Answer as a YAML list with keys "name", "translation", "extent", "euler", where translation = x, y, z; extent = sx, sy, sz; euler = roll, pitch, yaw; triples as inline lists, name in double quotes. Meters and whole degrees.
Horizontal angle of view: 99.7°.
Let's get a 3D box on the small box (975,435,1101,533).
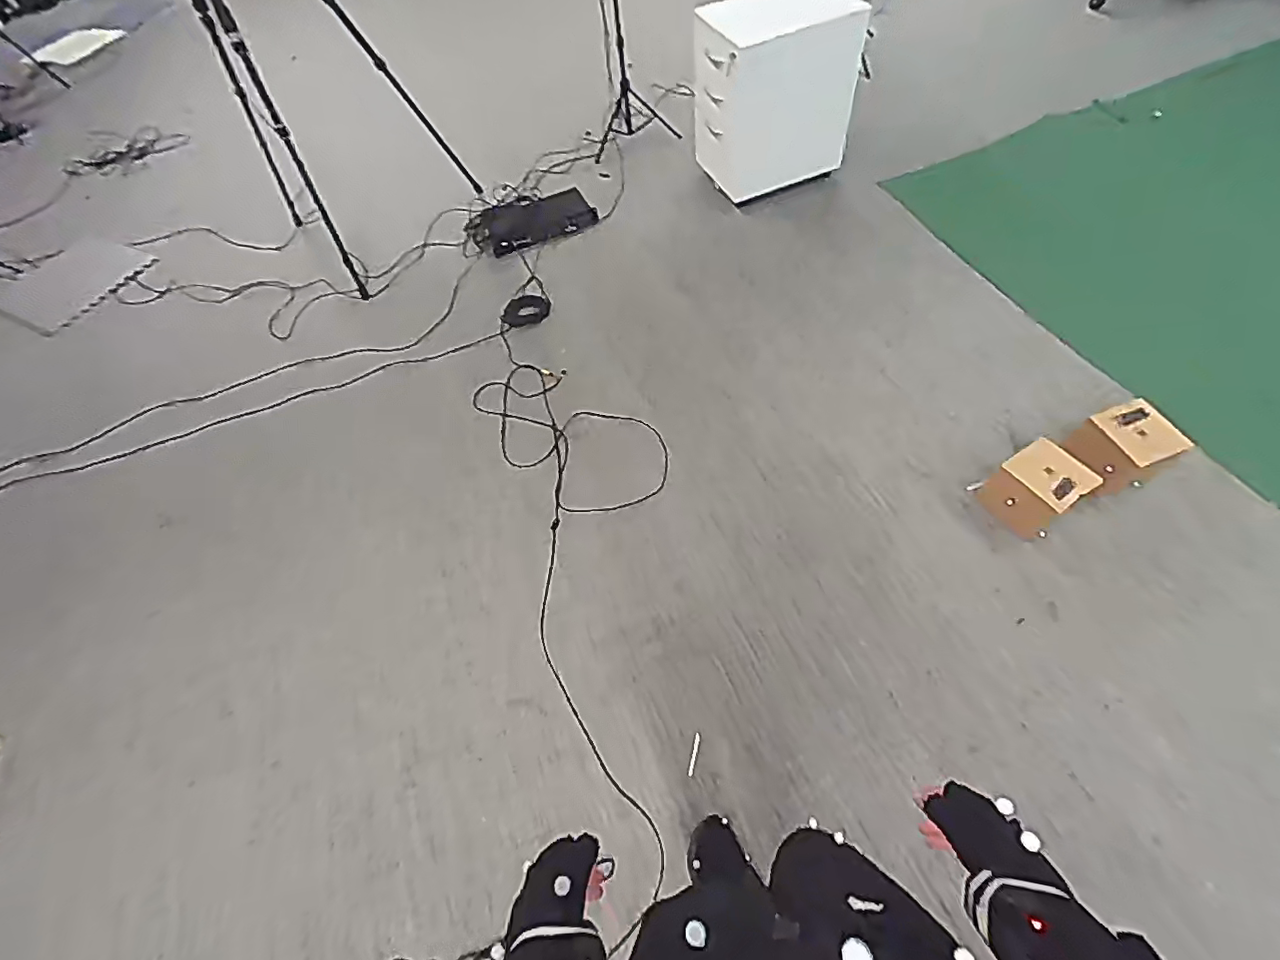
- name: "small box"
  translation: [1.048, 0.021, 1.441]
  extent: [0.168, 0.176, 0.179]
  euler: [-30, 59, -12]
